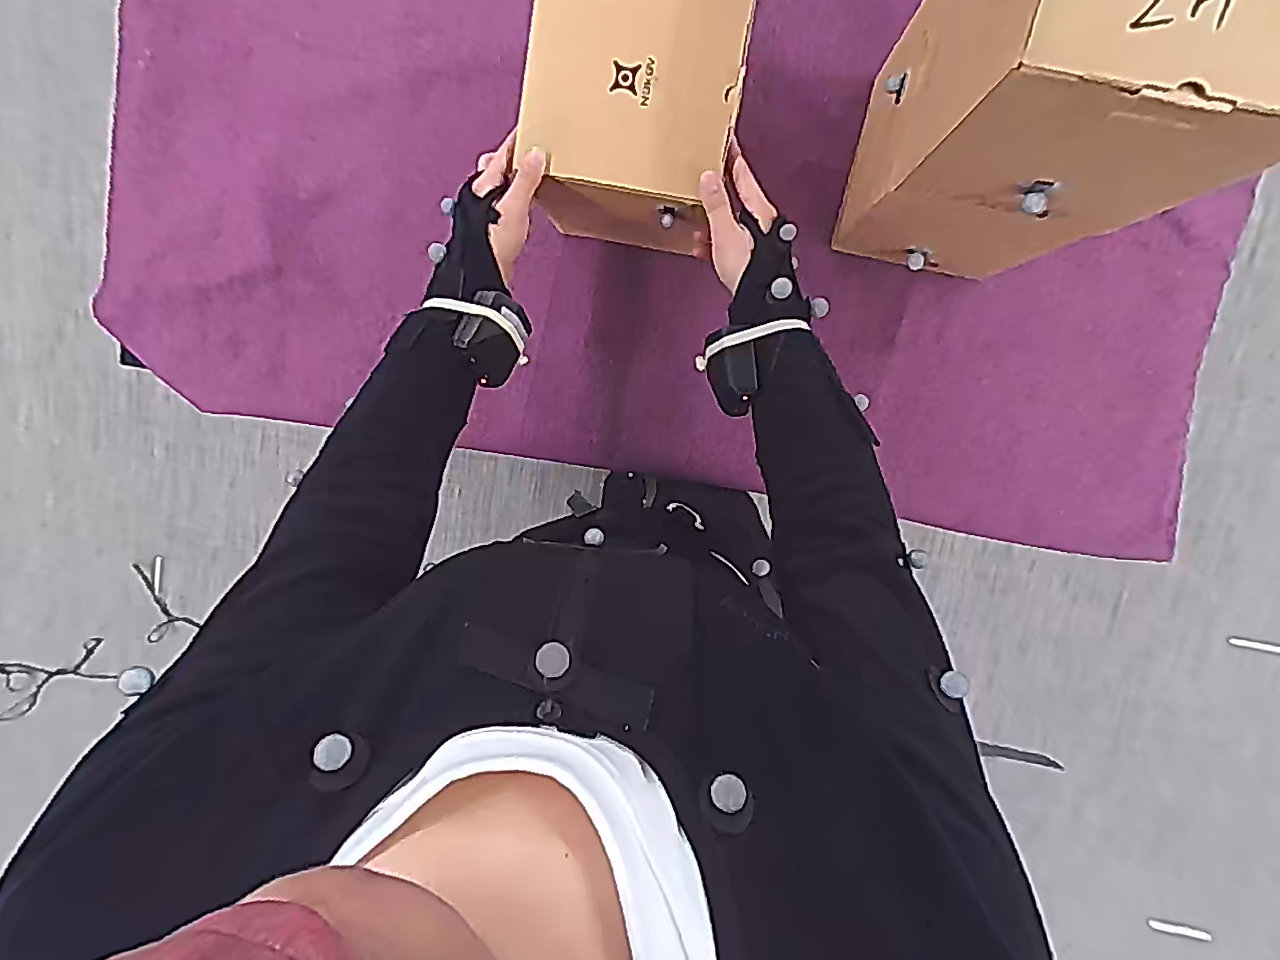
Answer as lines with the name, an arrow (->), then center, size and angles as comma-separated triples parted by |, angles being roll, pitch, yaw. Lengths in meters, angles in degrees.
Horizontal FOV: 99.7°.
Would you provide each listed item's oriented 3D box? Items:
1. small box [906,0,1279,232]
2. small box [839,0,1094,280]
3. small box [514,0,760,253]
small box -> 0.291, -0.279, 0.328 | 0.168, 0.176, 0.179 | 13, 99, 3
small box -> 0.300, -0.303, 0.491 | 0.168, 0.176, 0.179 | 14, 99, 2
small box -> 0.000, -0.331, 0.511 | 0.179, 0.176, 0.168 | 11, 98, 2
